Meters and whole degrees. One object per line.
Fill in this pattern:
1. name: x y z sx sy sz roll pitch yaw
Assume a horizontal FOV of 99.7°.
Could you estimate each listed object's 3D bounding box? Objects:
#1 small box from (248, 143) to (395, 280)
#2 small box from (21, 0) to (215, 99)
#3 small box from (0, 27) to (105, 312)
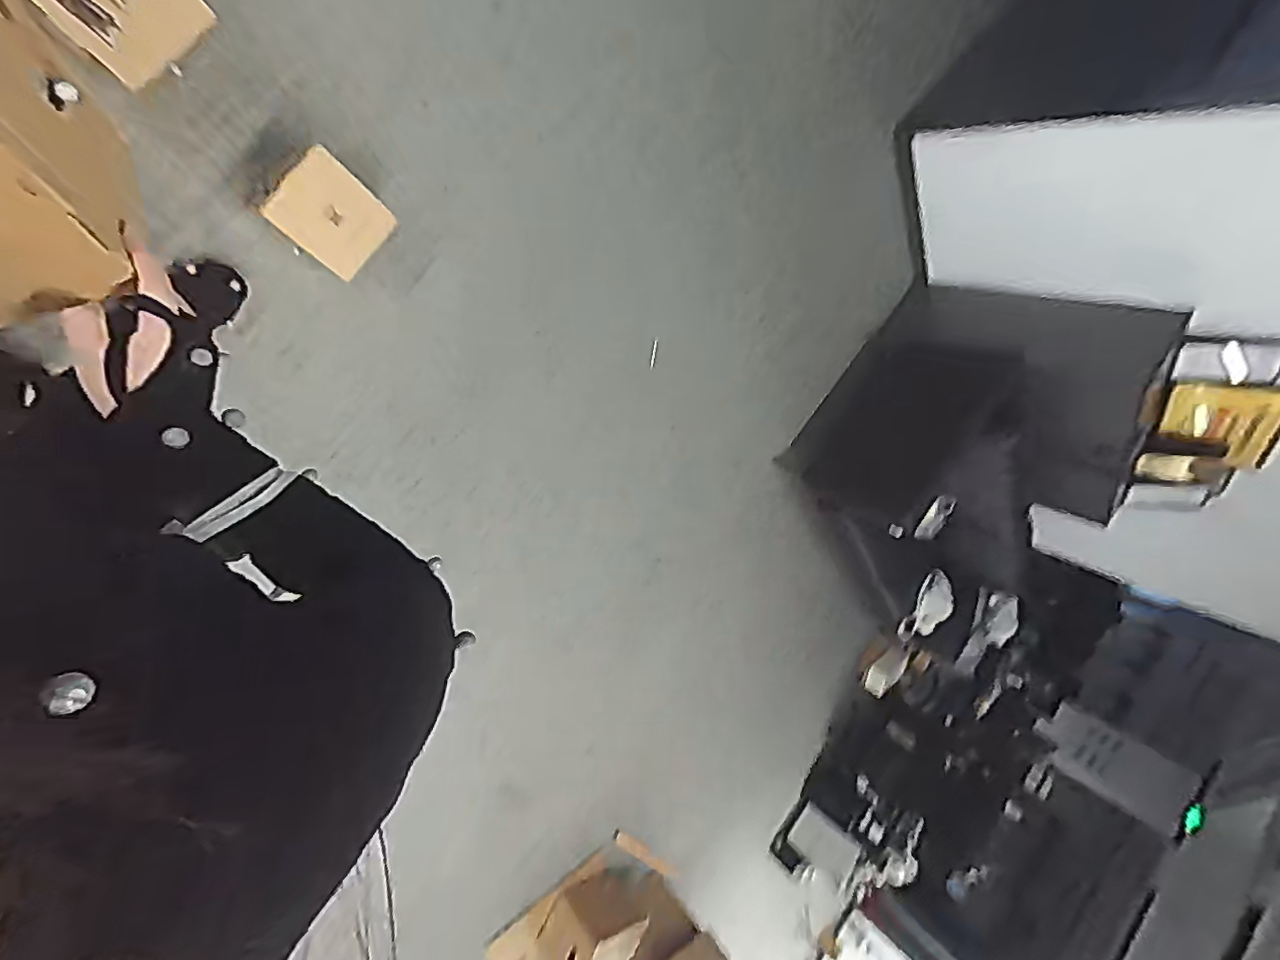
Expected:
1. small box: -0.631 -0.525 1.067 0.168 0.176 0.179 -53 138 -6
2. small box: -0.789 -0.714 0.813 0.179 0.176 0.168 -53 137 -9
3. small box: -0.472 -0.207 0.311 0.179 0.176 0.168 -23 159 -12
